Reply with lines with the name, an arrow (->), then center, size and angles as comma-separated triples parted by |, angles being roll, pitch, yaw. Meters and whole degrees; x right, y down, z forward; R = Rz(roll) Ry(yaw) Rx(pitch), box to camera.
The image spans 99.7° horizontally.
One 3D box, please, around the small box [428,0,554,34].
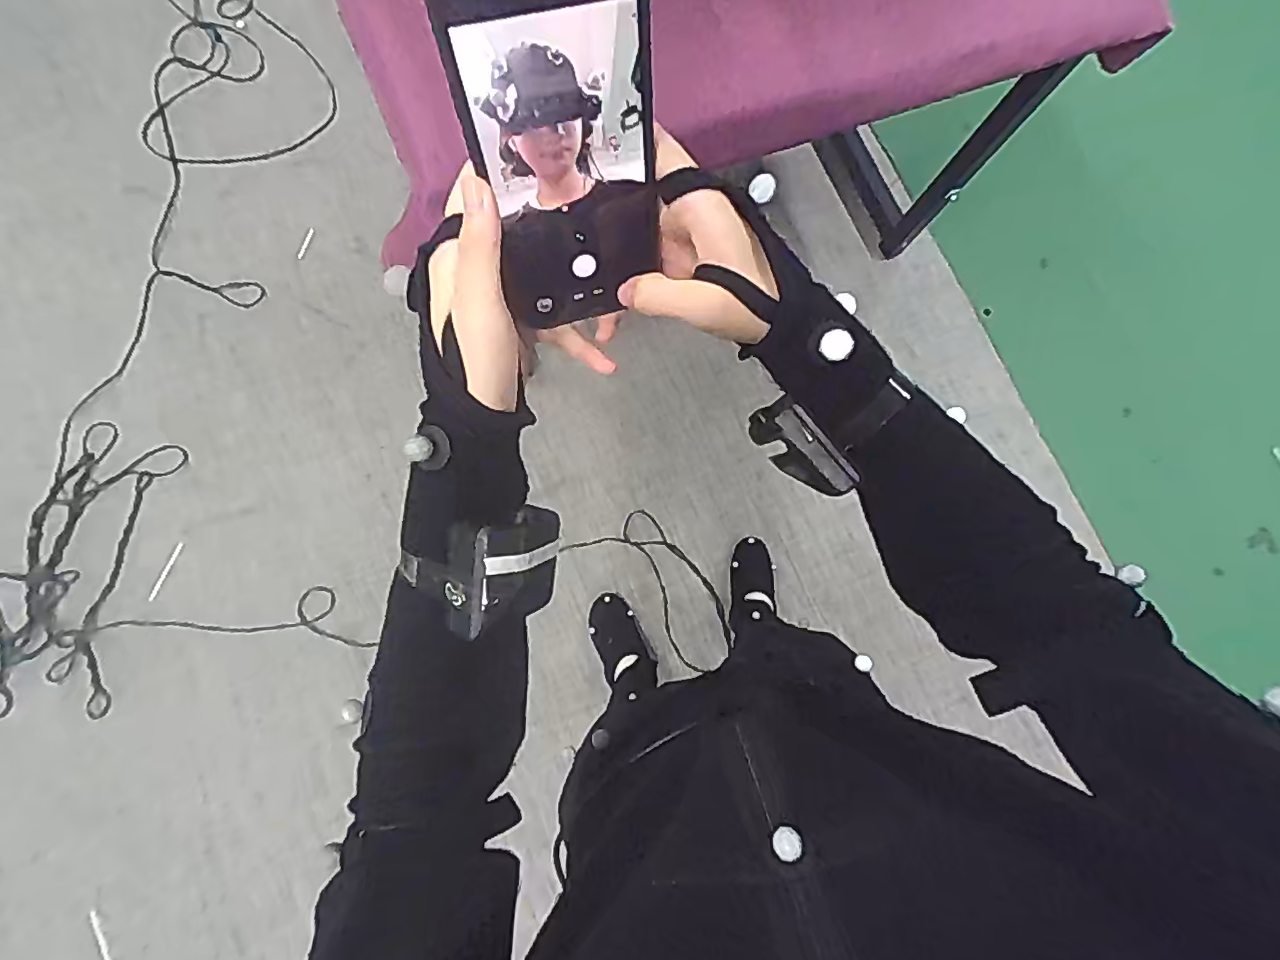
small box -> -0.216, -0.722, 0.696 | 0.168, 0.176, 0.179 | -19, 81, -8
